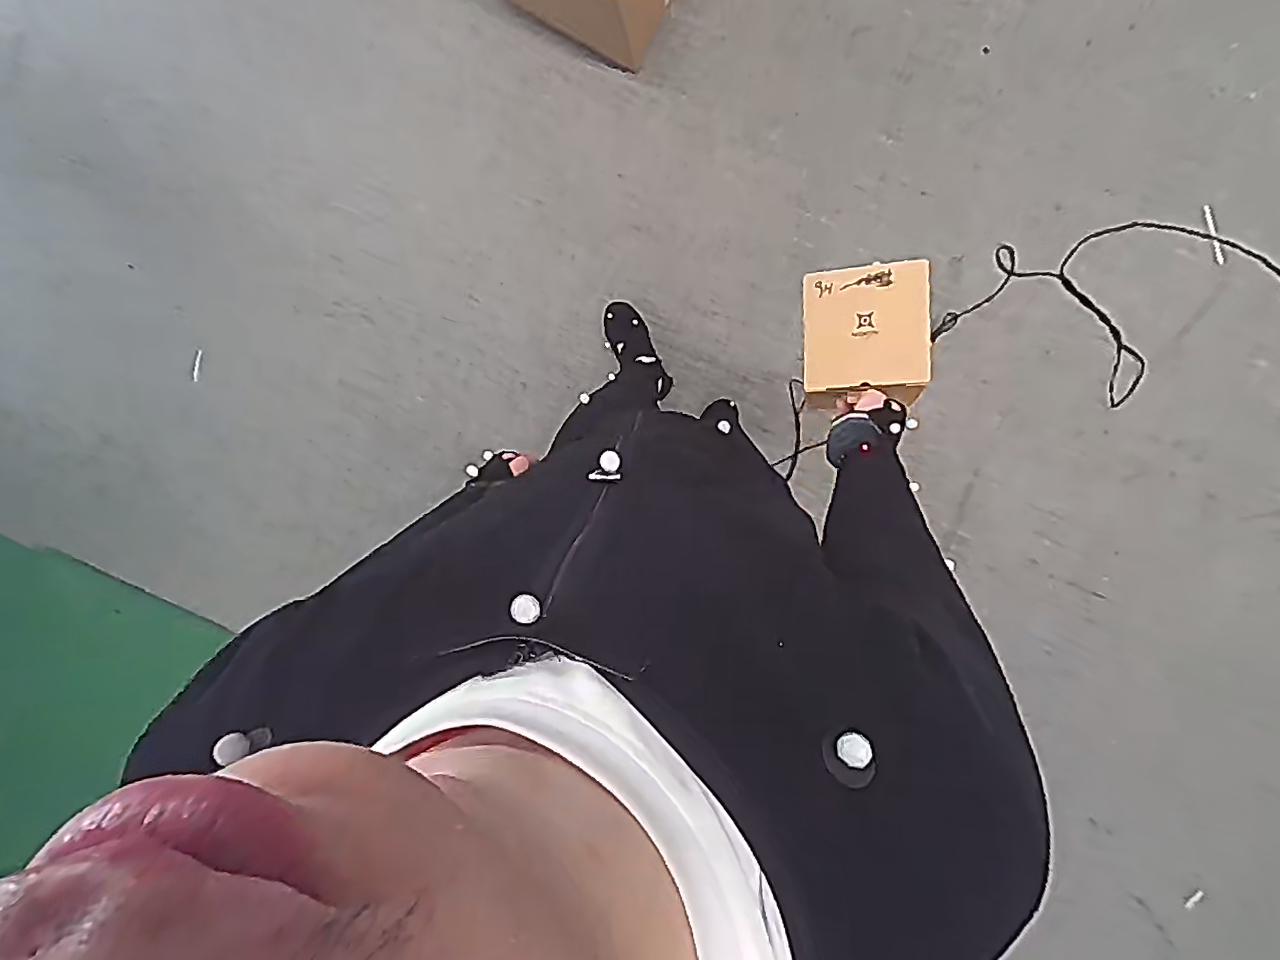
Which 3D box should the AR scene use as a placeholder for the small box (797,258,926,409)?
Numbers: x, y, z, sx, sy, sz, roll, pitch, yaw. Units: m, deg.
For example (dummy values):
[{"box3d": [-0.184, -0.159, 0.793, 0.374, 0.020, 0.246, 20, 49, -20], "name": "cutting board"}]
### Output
[{"box3d": [0.341, -0.211, 0.838, 0.168, 0.176, 0.179, -4, 85, 21], "name": "small box"}]
